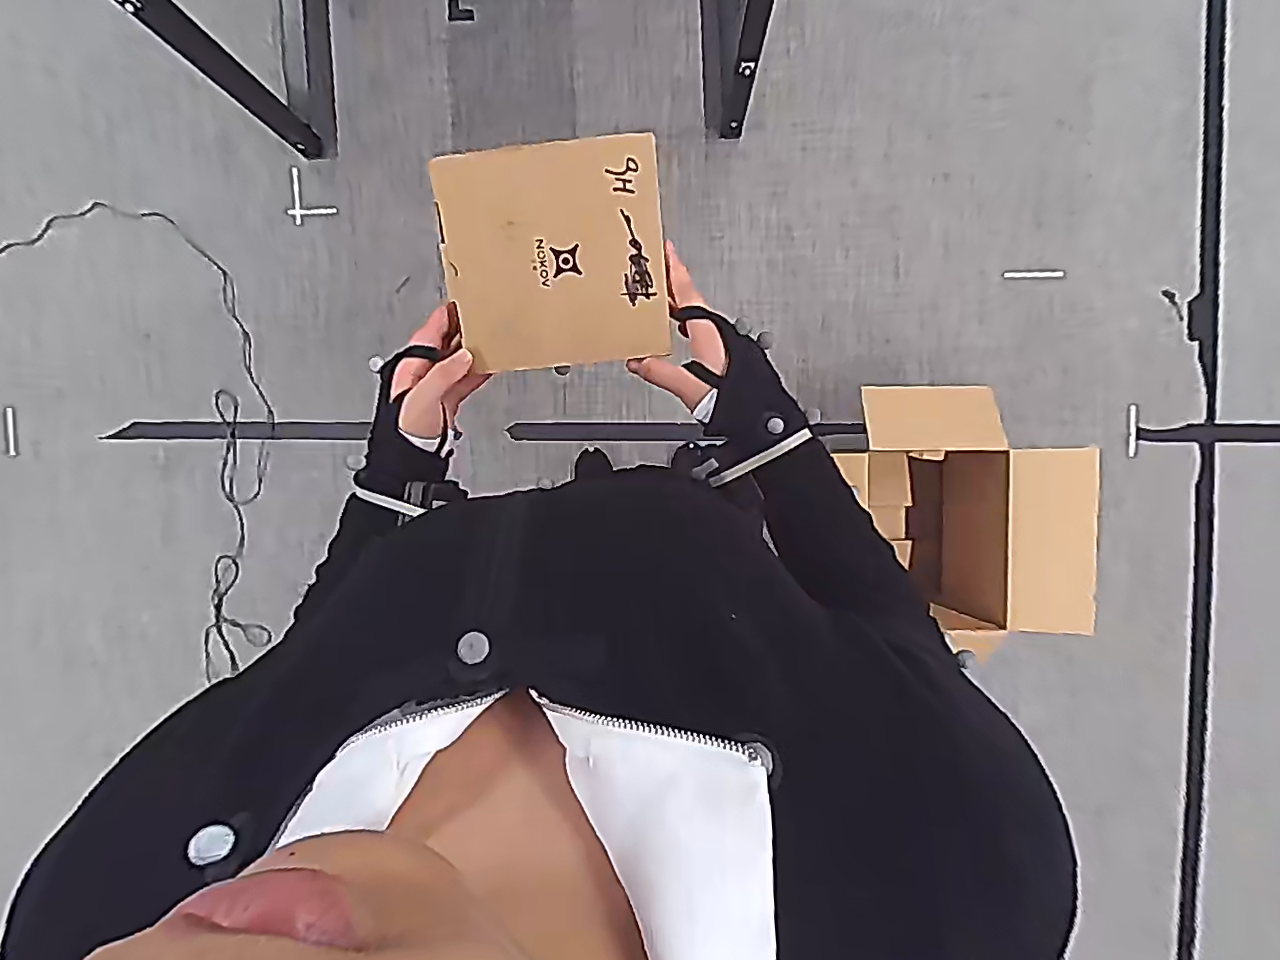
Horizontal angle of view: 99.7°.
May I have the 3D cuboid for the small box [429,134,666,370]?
[{"bbox_3d":[-0.068,-0.197,0.506,0.179,0.176,0.168,-5,107,2],"label":"small box"}]
